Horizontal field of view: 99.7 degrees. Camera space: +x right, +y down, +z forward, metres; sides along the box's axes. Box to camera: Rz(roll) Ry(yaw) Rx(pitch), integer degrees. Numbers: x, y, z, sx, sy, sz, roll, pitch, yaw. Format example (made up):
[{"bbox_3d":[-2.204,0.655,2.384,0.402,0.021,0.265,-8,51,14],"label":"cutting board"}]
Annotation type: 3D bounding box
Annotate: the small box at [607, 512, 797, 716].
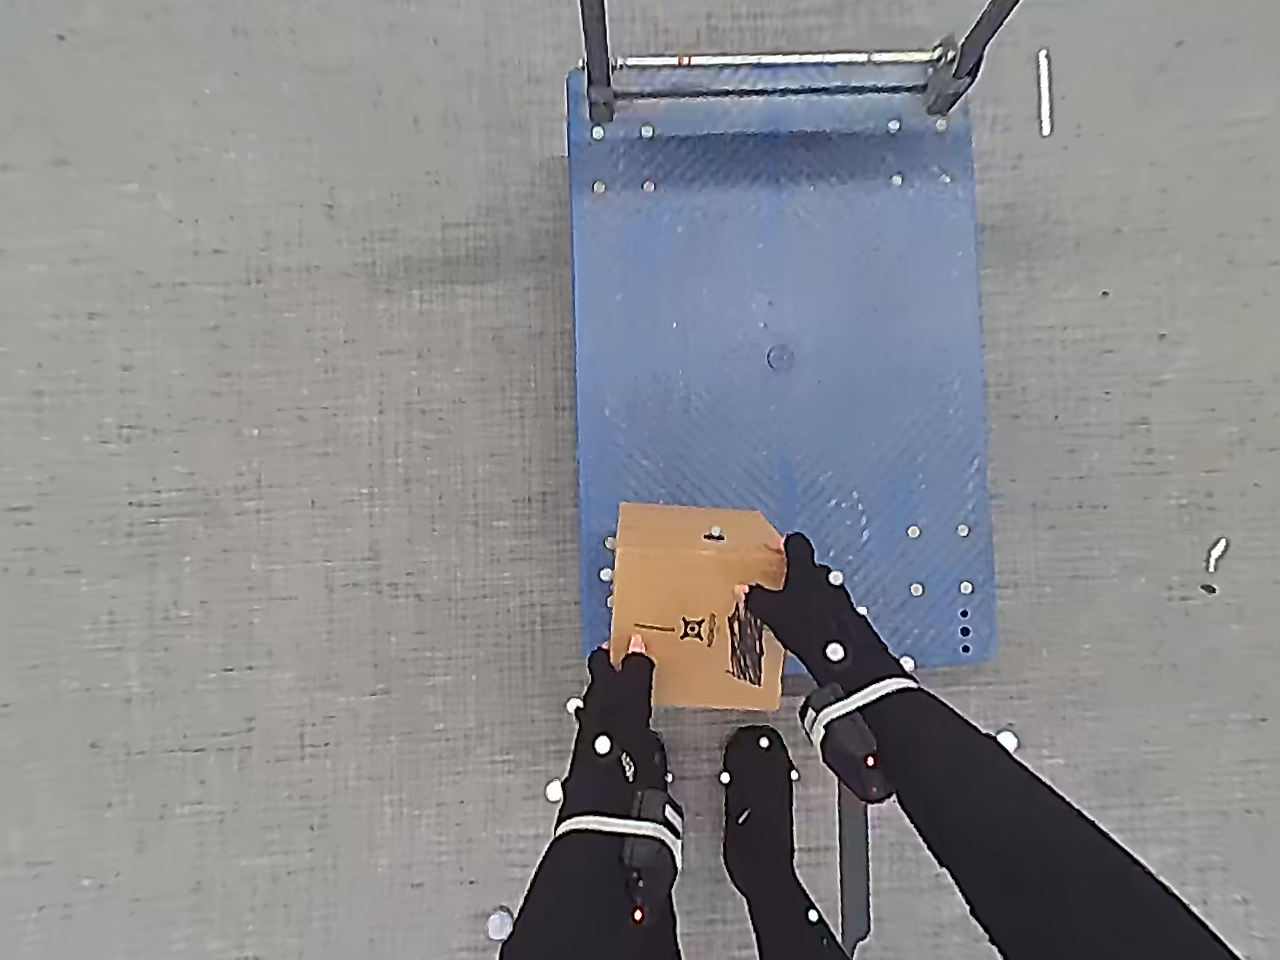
[{"bbox_3d":[0.057,0.138,0.605,0.179,0.176,0.168,4,101,-1],"label":"small box"}]
